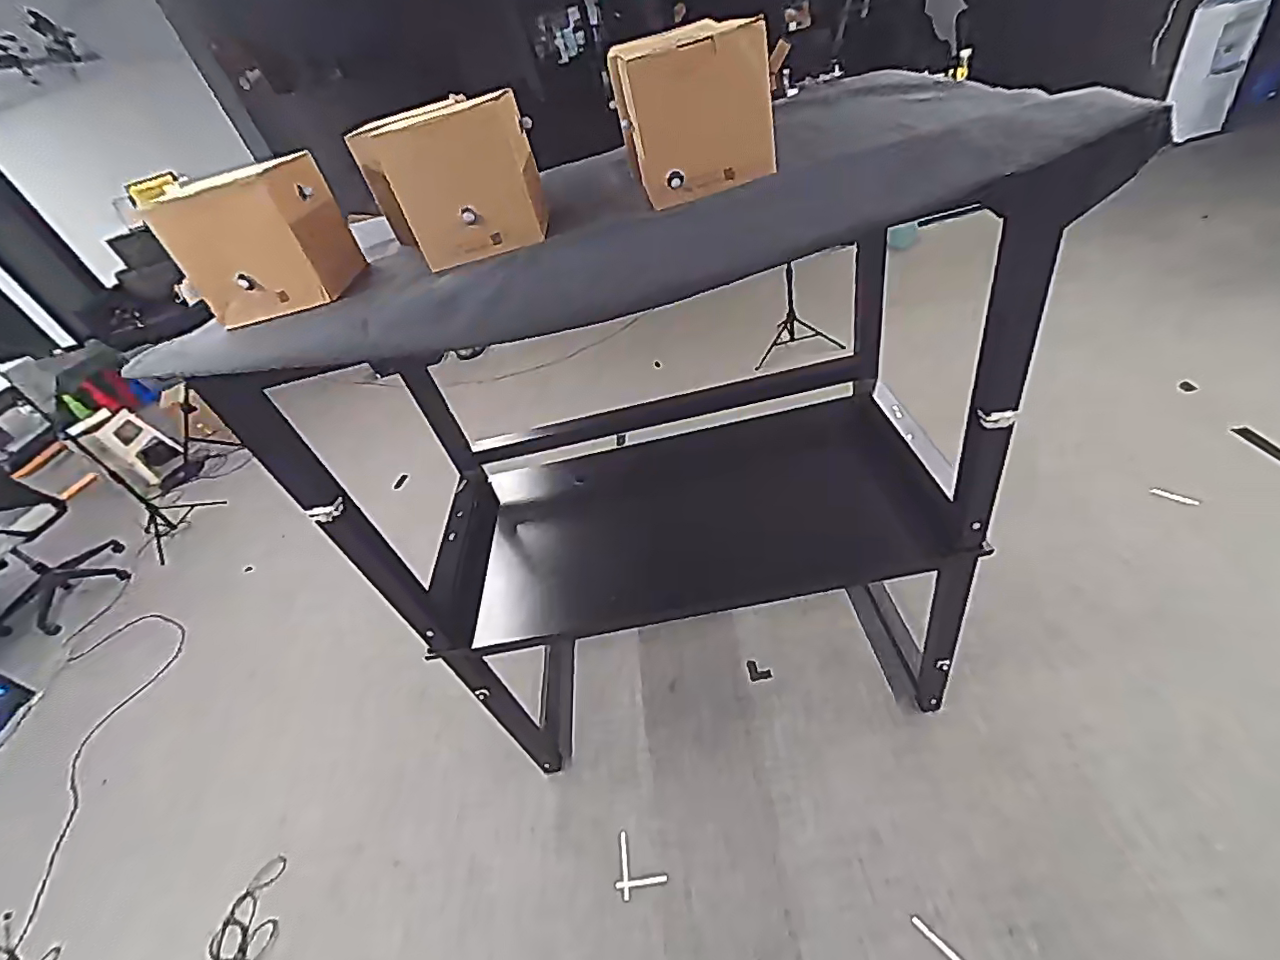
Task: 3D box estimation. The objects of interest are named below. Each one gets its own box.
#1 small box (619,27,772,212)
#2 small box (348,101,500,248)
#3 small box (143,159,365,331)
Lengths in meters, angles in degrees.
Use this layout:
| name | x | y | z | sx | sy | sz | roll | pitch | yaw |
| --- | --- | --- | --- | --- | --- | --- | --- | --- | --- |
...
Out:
| name | x | y | z | sx | sy | sz | roll | pitch | yaw |
| --- | --- | --- | --- | --- | --- | --- | --- | --- | --- |
| small box | 0.075 | -0.484 | 0.736 | 0.168 | 0.176 | 0.179 | -13 | 39 | 4 |
| small box | -0.357 | -0.527 | 0.936 | 0.179 | 0.176 | 0.168 | -14 | 40 | 3 |
| small box | -0.529 | -0.338 | 0.778 | 0.168 | 0.176 | 0.179 | -14 | 39 | 3 |
